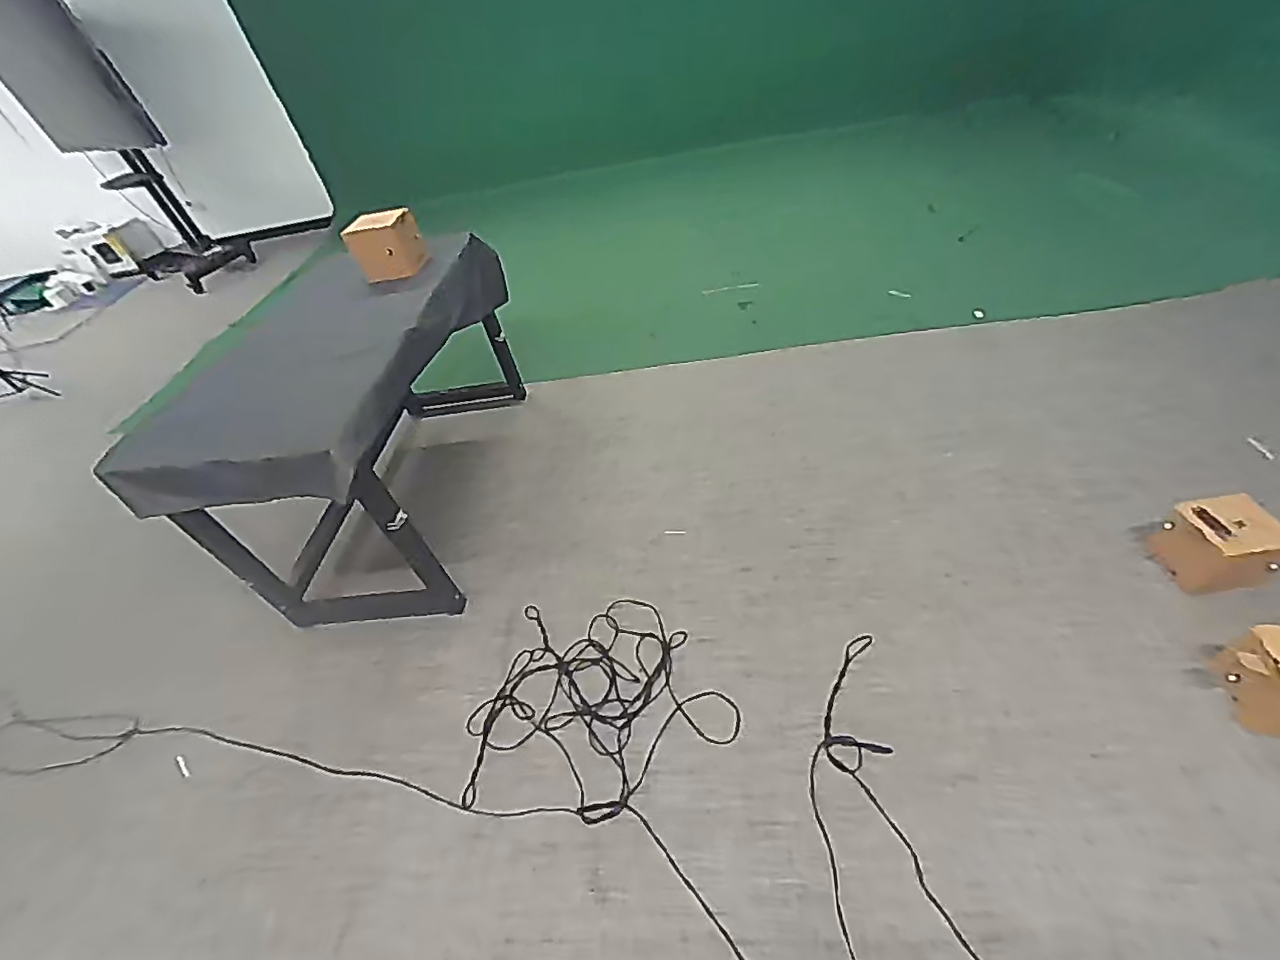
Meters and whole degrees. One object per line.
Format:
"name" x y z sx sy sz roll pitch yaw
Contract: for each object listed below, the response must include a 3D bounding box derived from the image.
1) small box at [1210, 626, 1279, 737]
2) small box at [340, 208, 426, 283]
"small box" 1.355 0.422 1.108 0.179 0.176 0.168 2 46 16
"small box" -0.846 -0.781 1.802 0.179 0.176 0.168 -6 43 9
